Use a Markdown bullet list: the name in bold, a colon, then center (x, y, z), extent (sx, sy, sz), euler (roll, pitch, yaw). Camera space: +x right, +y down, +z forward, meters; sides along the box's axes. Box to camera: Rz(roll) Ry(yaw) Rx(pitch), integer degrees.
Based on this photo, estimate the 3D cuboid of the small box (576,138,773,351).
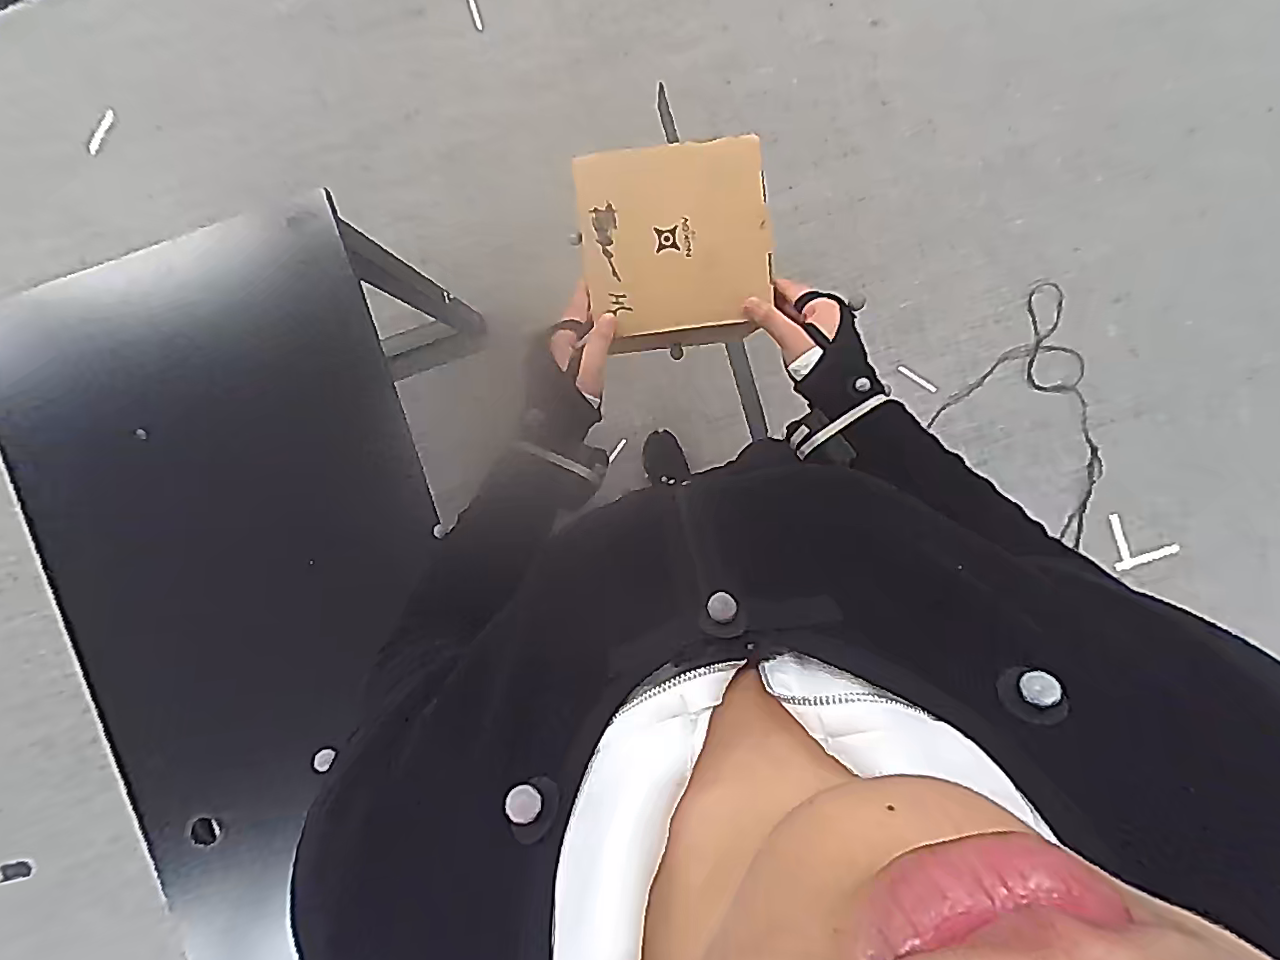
- **small box**: center (0.031, -0.237, 0.583), extent (0.179, 0.176, 0.168), euler (-7, 98, -1)
